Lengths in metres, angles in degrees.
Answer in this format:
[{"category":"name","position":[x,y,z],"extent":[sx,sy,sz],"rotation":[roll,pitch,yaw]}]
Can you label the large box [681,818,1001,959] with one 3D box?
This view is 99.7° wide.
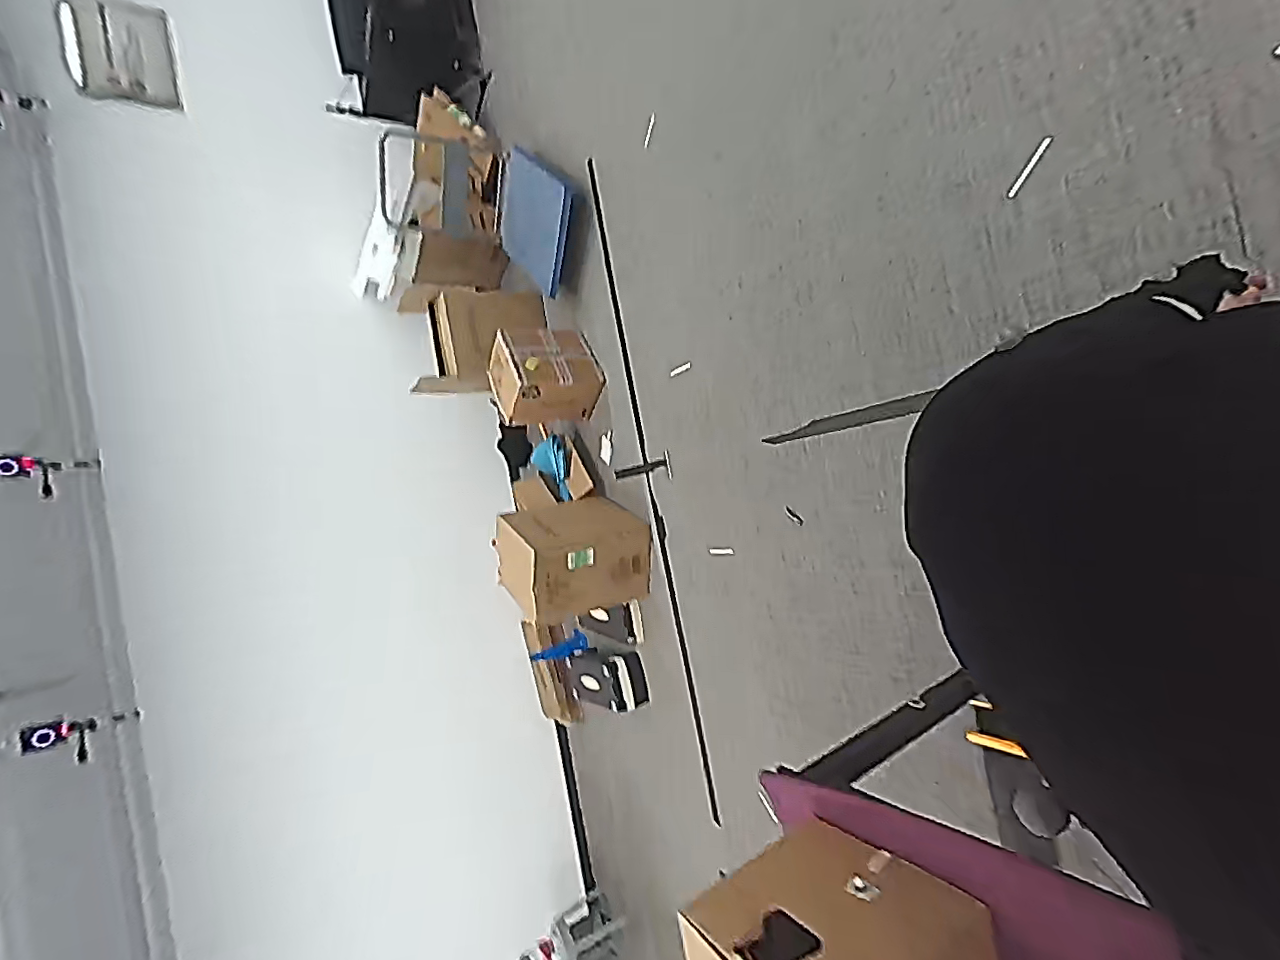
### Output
[{"category":"large box","position":[0.305,0.798,0.765],"extent":[0.320,0.320,0.408],"rotation":[-15,87,60]}]
